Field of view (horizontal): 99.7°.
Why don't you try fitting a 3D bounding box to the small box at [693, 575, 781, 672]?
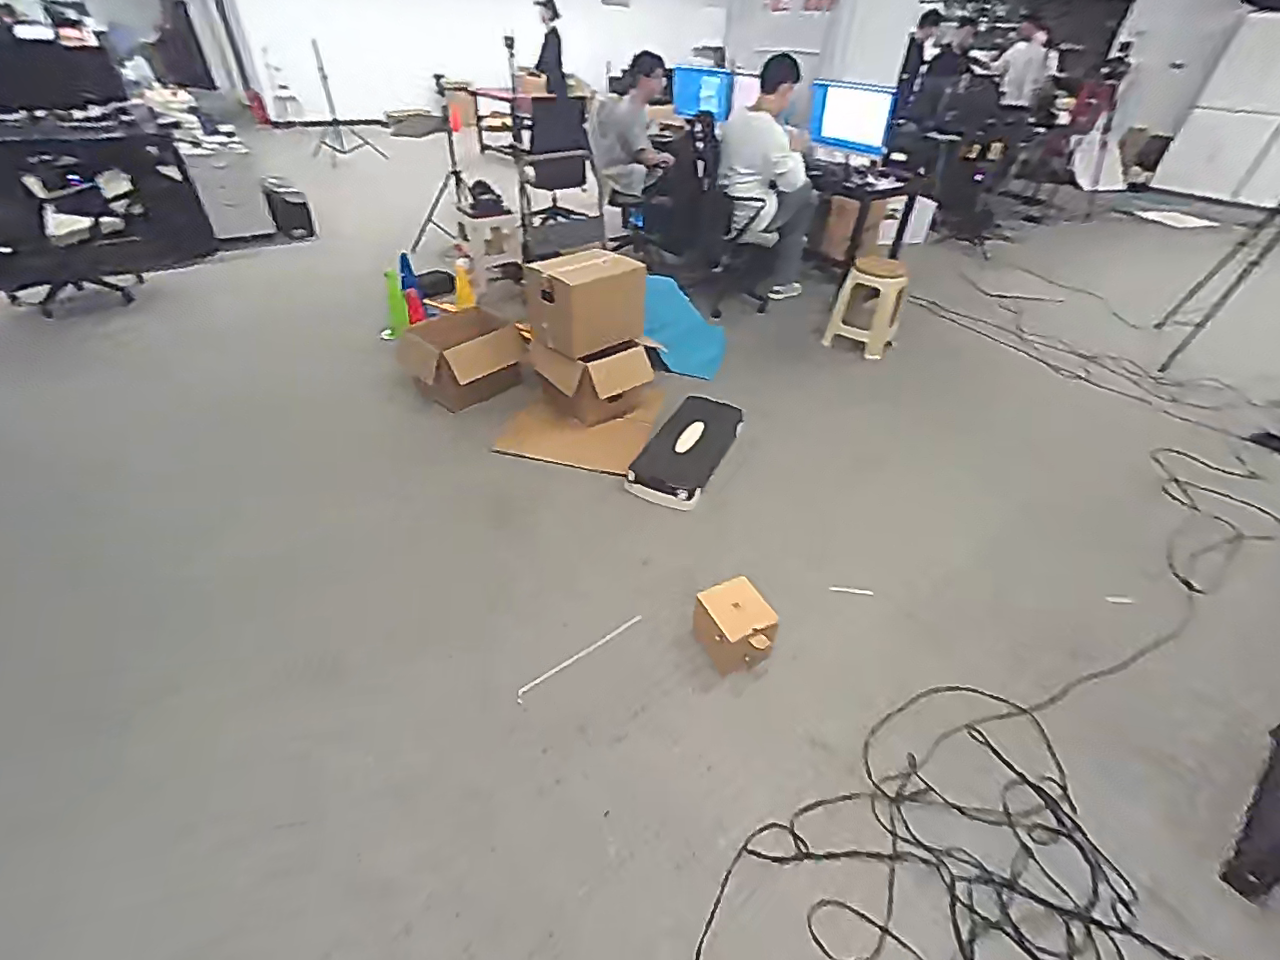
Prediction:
[{"bbox_3d":[0.267,0.408,1.536,0.168,0.176,0.179,-16,44,-22],"label":"small box"}]
